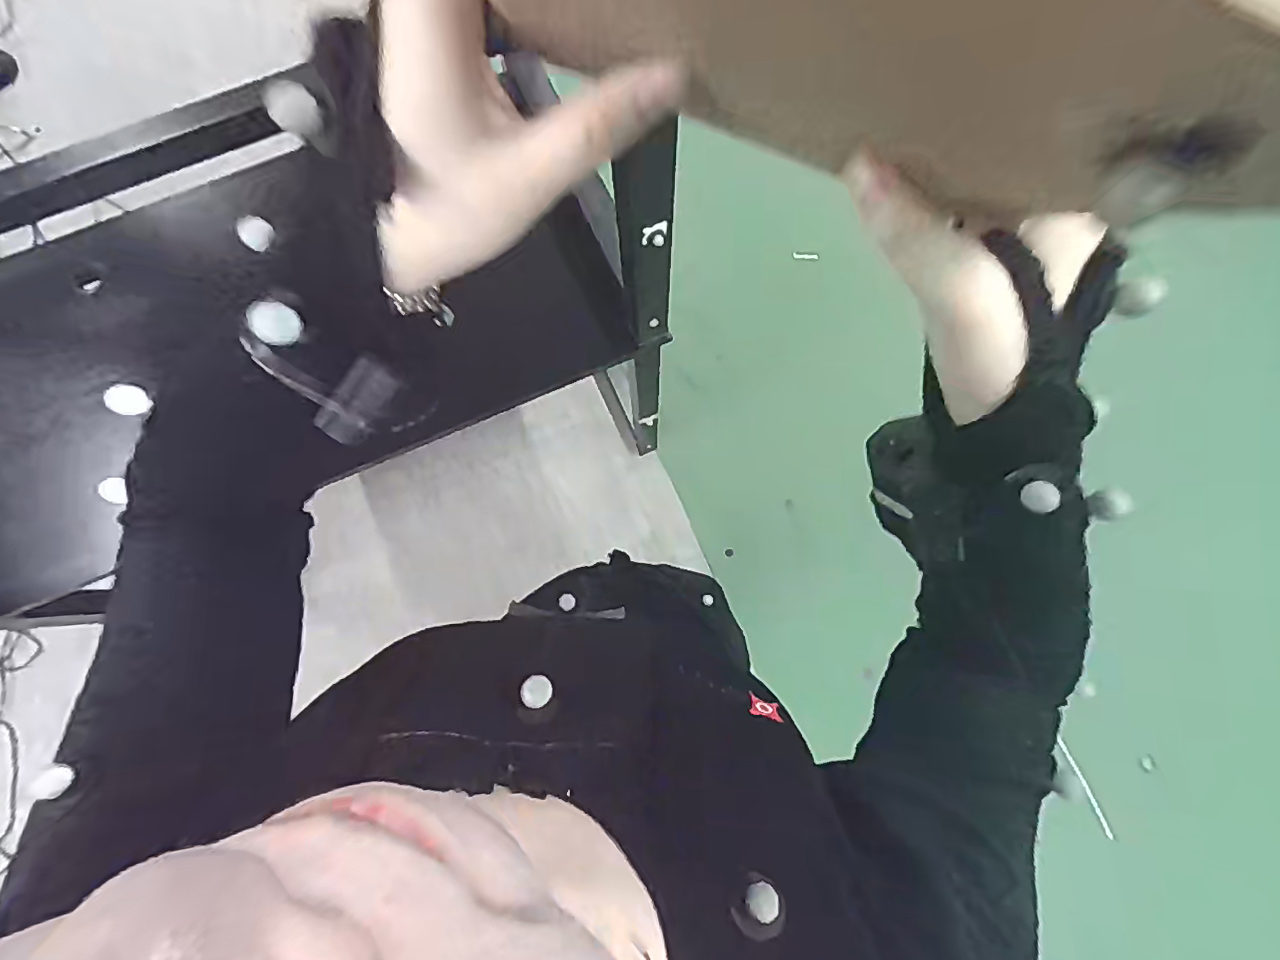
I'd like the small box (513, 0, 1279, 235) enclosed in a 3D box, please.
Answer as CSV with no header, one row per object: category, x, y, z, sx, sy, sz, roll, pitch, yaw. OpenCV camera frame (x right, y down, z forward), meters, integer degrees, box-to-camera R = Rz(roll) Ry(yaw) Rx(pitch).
small box,0.068,-0.160,0.110,0.179,0.176,0.168,15,115,-10
